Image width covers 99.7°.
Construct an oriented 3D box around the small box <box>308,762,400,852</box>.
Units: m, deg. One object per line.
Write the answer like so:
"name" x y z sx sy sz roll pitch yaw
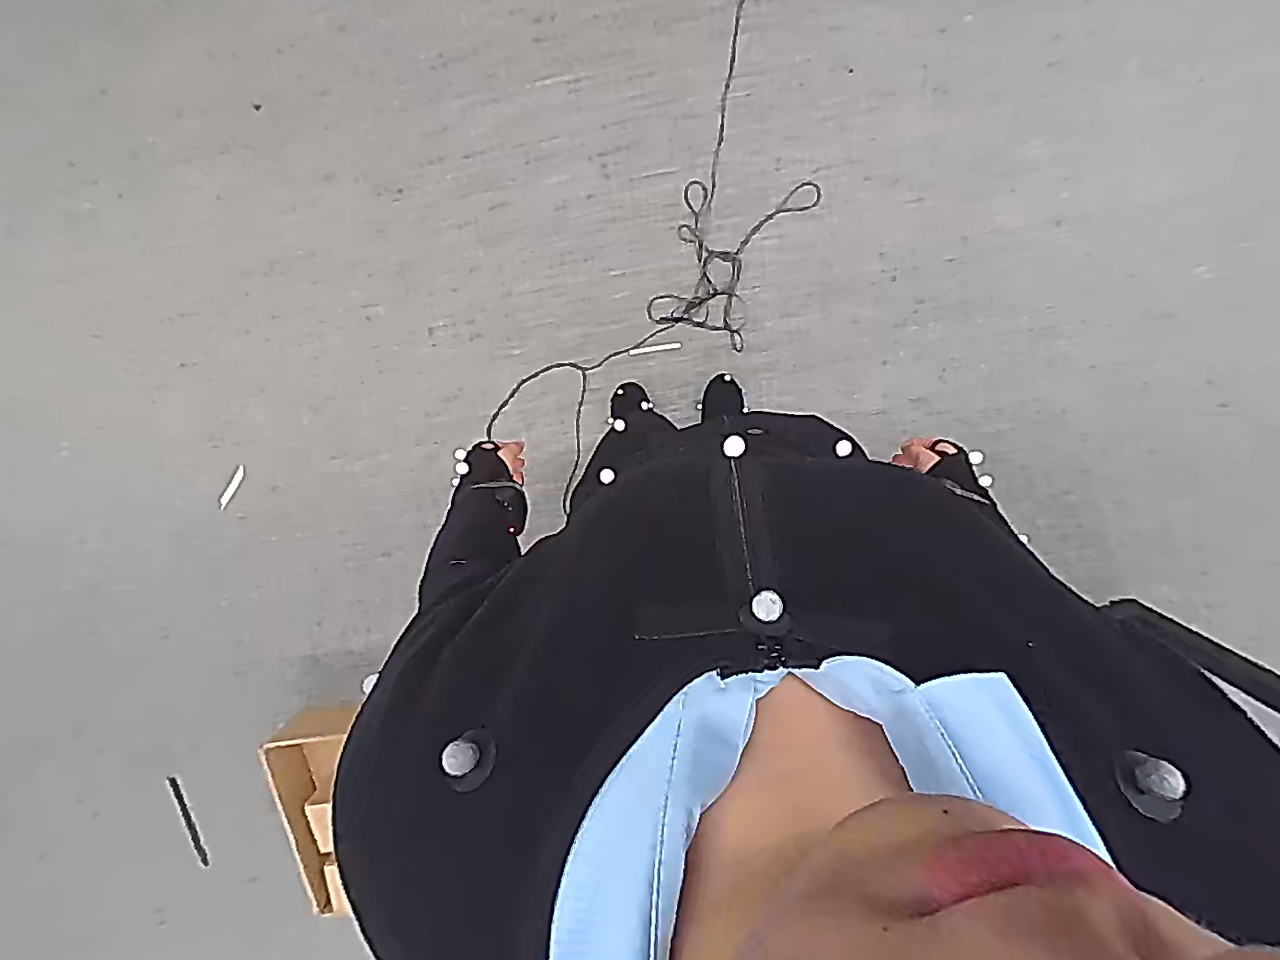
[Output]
"small box" -0.865 0.996 1.660 0.179 0.176 0.168 -10 101 6
